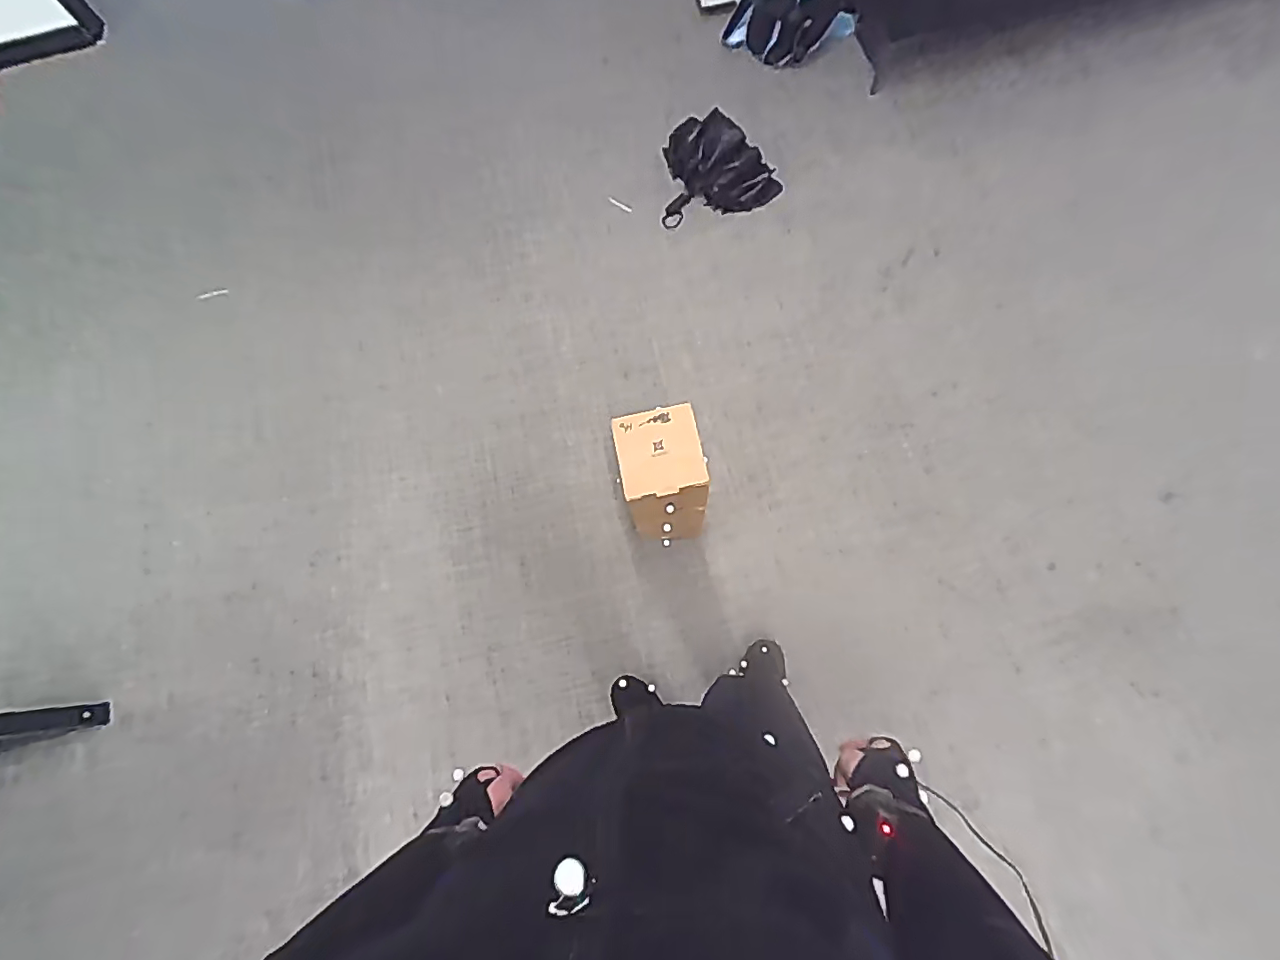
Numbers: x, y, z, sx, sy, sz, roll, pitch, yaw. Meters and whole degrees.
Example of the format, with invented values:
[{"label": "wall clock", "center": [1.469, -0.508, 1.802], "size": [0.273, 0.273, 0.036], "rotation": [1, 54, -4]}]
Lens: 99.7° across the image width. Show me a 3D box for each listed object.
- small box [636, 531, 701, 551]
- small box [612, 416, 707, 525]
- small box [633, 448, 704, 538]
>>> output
[{"label": "small box", "center": [0.073, 0.086, 1.450], "size": [0.168, 0.176, 0.179], "rotation": [-4, 73, 3]}, {"label": "small box", "center": [0.044, -0.010, 1.138], "size": [0.168, 0.176, 0.179], "rotation": [-11, 72, 1]}, {"label": "small box", "center": [0.064, 0.035, 1.293], "size": [0.168, 0.176, 0.179], "rotation": [-3, 72, 4]}]
